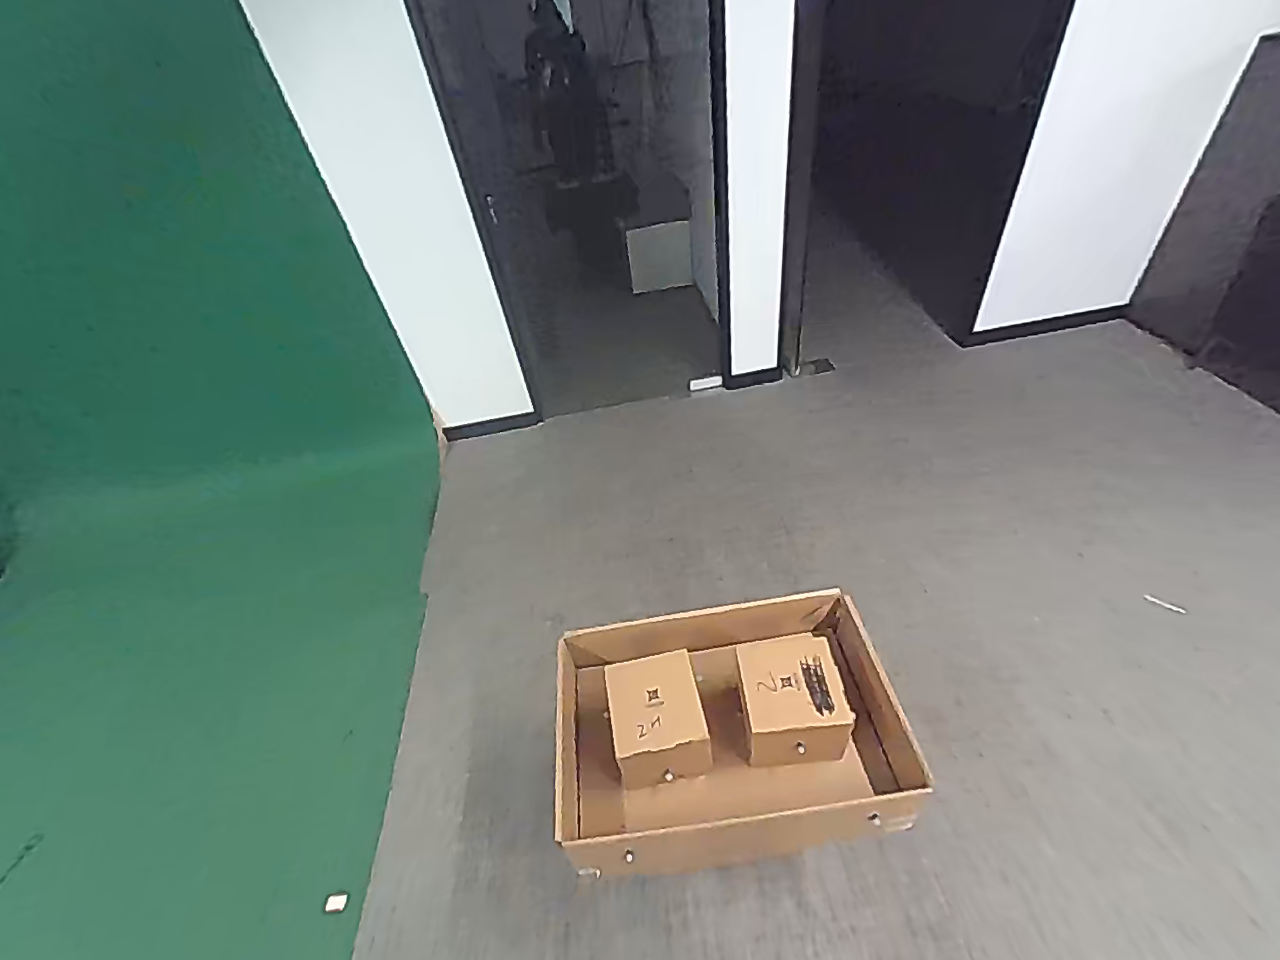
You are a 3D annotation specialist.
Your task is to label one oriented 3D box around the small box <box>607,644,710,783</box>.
[{"bbox_3d":[0.034,0.448,1.038,0.168,0.176,0.179,-11,43,-2],"label":"small box"}]
